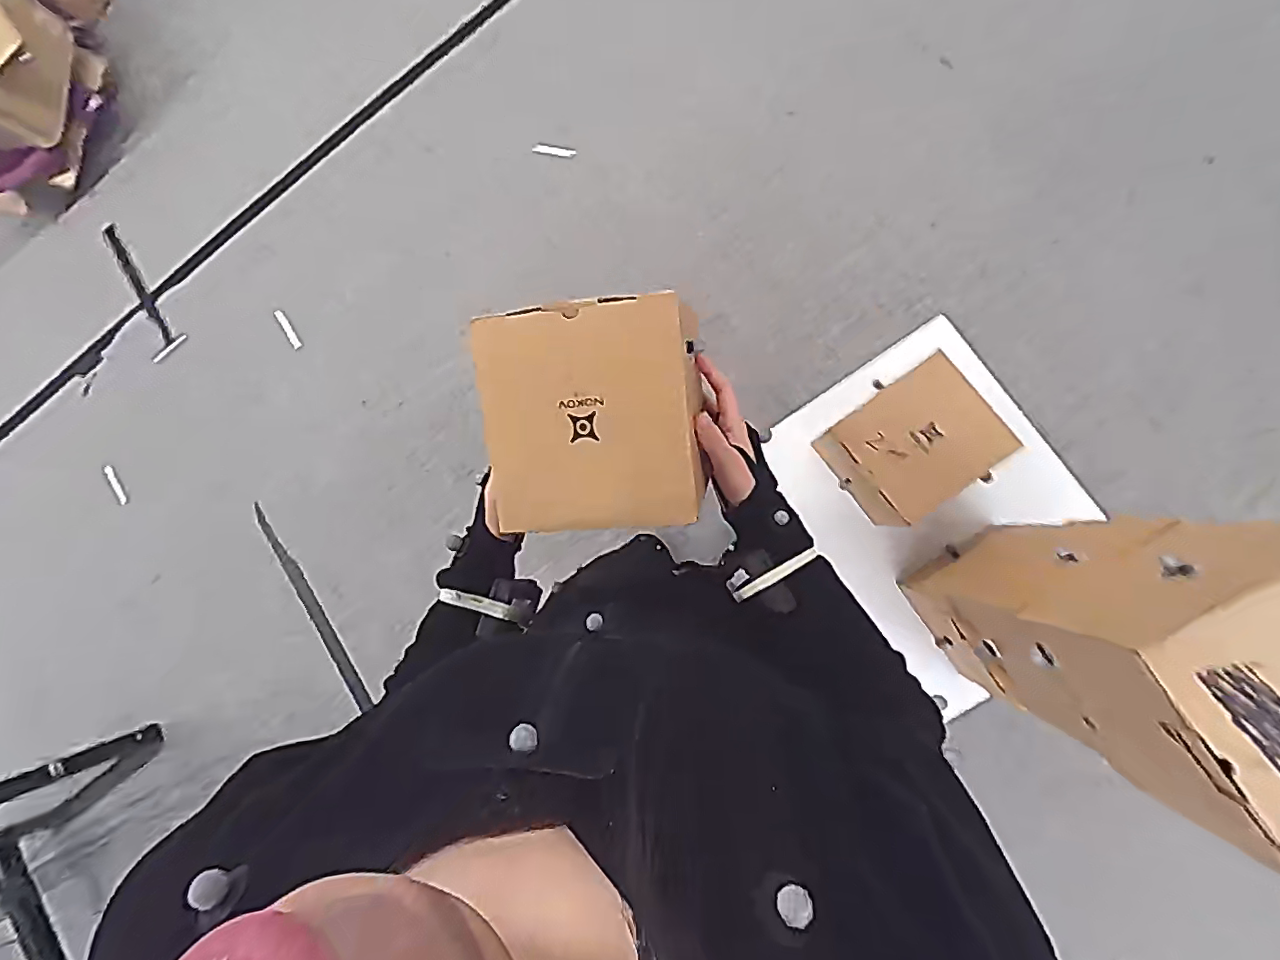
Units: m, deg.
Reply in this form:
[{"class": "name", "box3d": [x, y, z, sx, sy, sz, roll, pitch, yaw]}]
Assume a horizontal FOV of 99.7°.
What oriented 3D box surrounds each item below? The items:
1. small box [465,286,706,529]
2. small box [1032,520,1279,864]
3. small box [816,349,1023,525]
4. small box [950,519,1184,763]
[{"class": "small box", "box3d": [-0.032, -0.065, 0.492, 0.168, 0.176, 0.179, -5, 100, 11]}, {"class": "small box", "box3d": [0.451, 0.143, 0.415, 0.179, 0.176, 0.168, -31, 81, 4]}, {"class": "small box", "box3d": [0.379, -0.053, 0.772, 0.179, 0.176, 0.168, -36, 82, 6]}, {"class": "small box", "box3d": [0.479, 0.153, 0.577, 0.179, 0.176, 0.168, -33, 80, 6]}]
